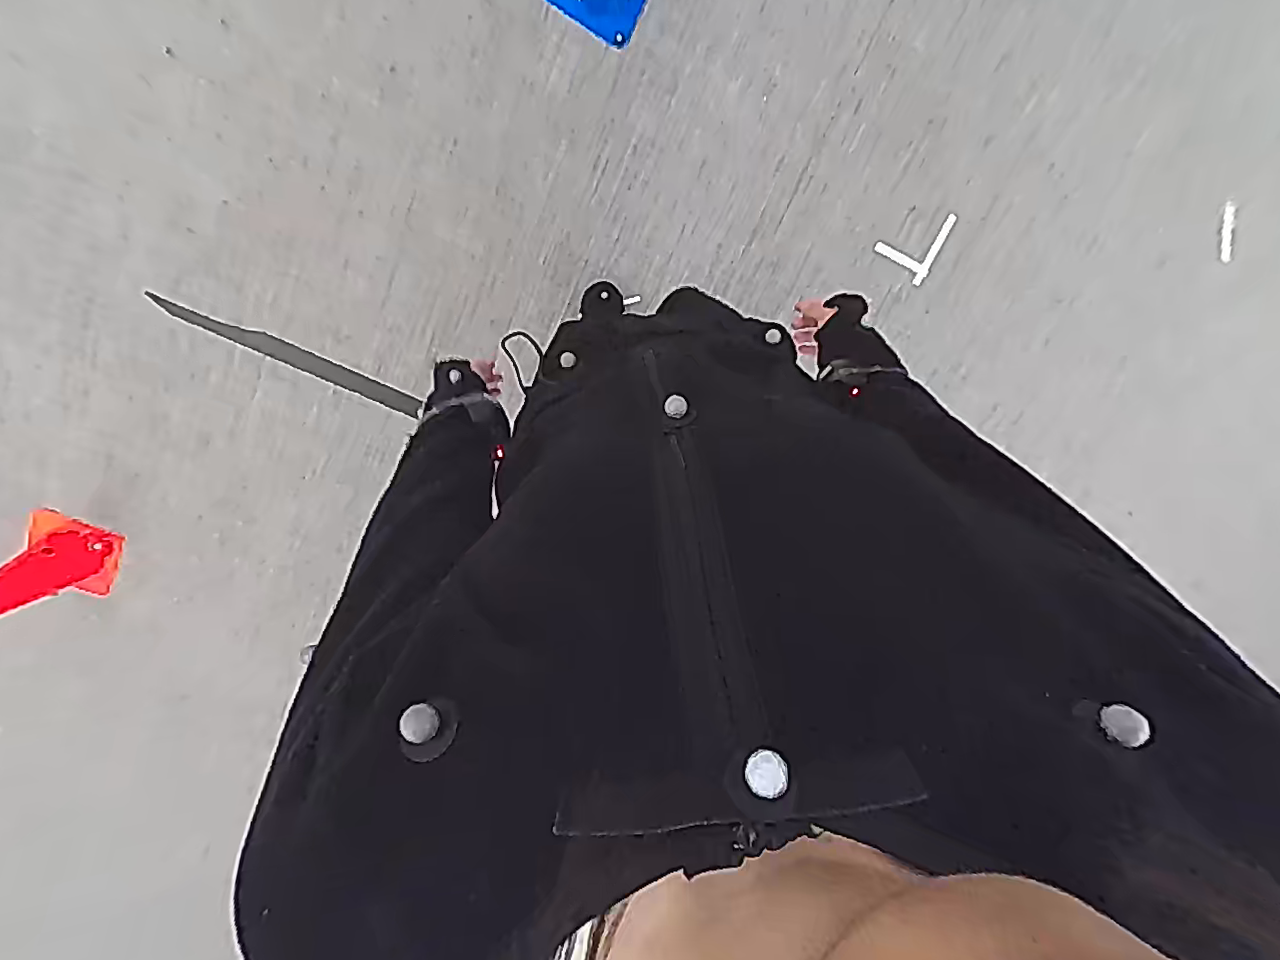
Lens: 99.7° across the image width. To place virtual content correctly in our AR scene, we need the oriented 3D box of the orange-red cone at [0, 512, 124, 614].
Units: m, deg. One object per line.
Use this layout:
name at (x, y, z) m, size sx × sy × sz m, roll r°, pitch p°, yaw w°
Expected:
orange-red cone at (-1.416, 0.252, 1.204) m, size 0.199 × 0.360 × 0.198 m, roll 27°, pitch 105°, yaw -14°

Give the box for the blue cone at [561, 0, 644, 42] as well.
blue cone at (-0.051, -0.960, 0.922) m, size 0.192 × 0.380 × 0.193 m, roll 27°, pitch 106°, yaw -15°
